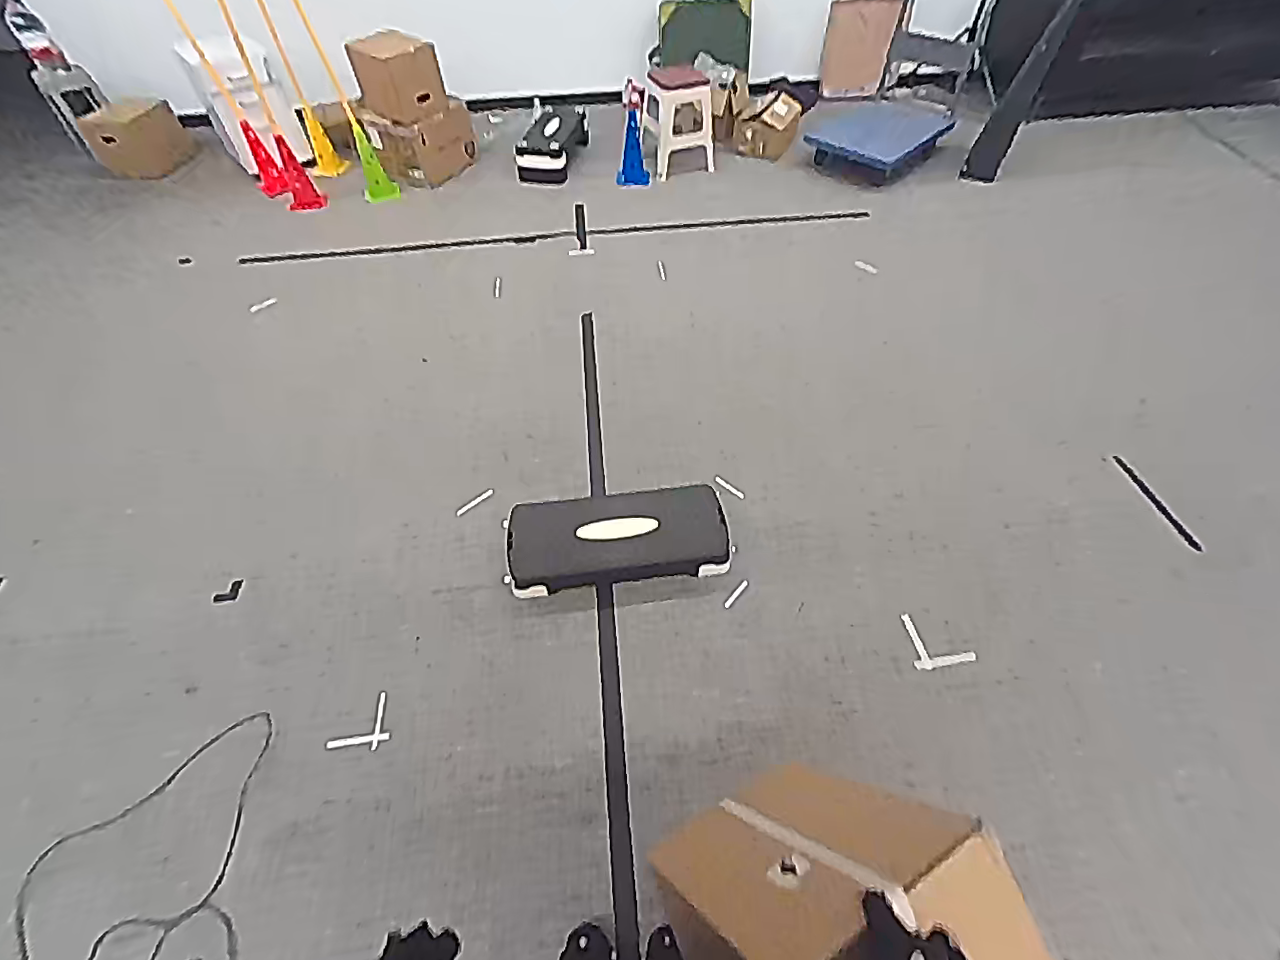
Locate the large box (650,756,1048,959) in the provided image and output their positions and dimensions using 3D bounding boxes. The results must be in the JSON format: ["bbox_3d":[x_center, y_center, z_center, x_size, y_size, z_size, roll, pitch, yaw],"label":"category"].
[{"bbox_3d":[0.264,0.630,0.731,0.320,0.408,0.320,-18,81,-24],"label":"large box"}]
